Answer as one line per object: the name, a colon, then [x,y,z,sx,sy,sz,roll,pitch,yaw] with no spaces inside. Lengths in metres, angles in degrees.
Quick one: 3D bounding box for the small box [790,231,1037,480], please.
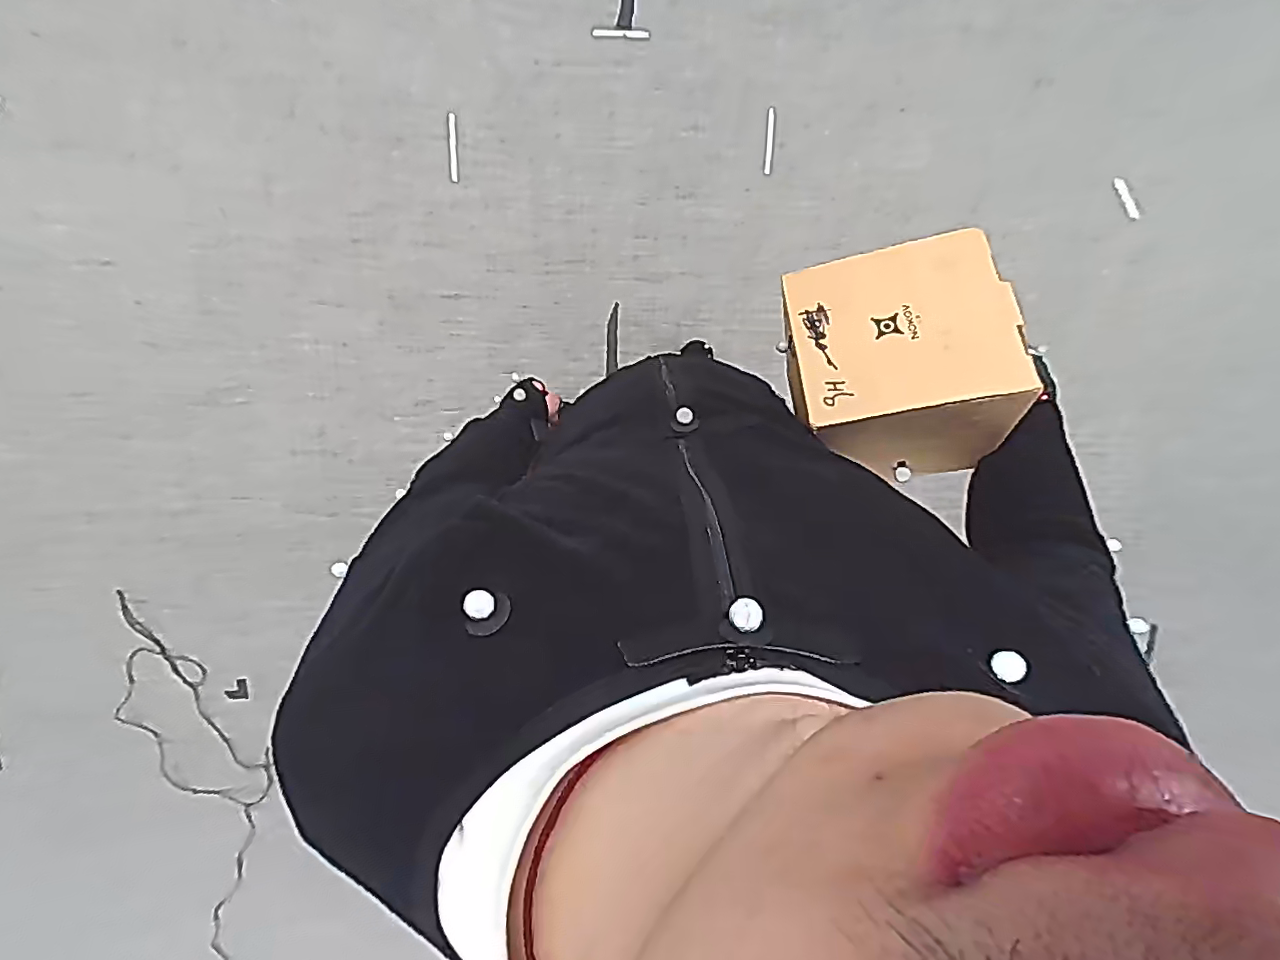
small box: [0.253,-0.112,0.551,0.179,0.176,0.168,-9,67,14]
